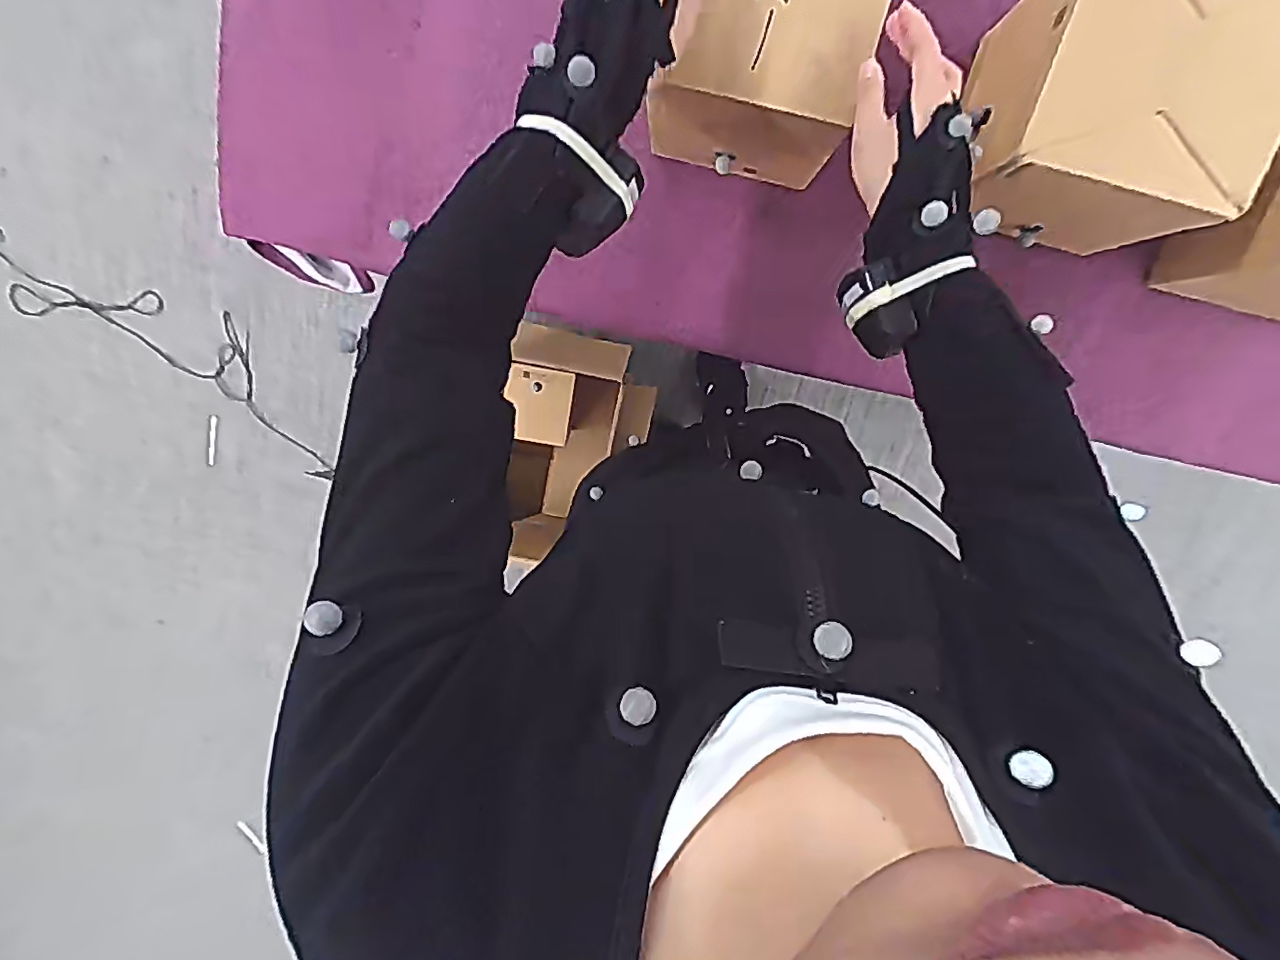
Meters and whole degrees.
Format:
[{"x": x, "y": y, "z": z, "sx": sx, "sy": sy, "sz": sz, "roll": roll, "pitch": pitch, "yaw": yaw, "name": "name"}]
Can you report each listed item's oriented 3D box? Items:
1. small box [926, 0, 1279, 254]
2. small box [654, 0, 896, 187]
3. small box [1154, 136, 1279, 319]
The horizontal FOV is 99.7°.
[{"x": 0.392, "y": -0.316, "z": 0.464, "sx": 0.179, "sy": 0.176, "sz": 0.168, "roll": 16, "pitch": 102, "yaw": 1, "name": "small box"}, {"x": 0.113, "y": -0.388, "z": 0.471, "sx": 0.168, "sy": 0.176, "sz": 0.179, "roll": 14, "pitch": 104, "yaw": 1, "name": "small box"}, {"x": 0.627, "y": -0.241, "z": 0.466, "sx": 0.179, "sy": 0.176, "sz": 0.168, "roll": 15, "pitch": 101, "yaw": 0, "name": "small box"}]
